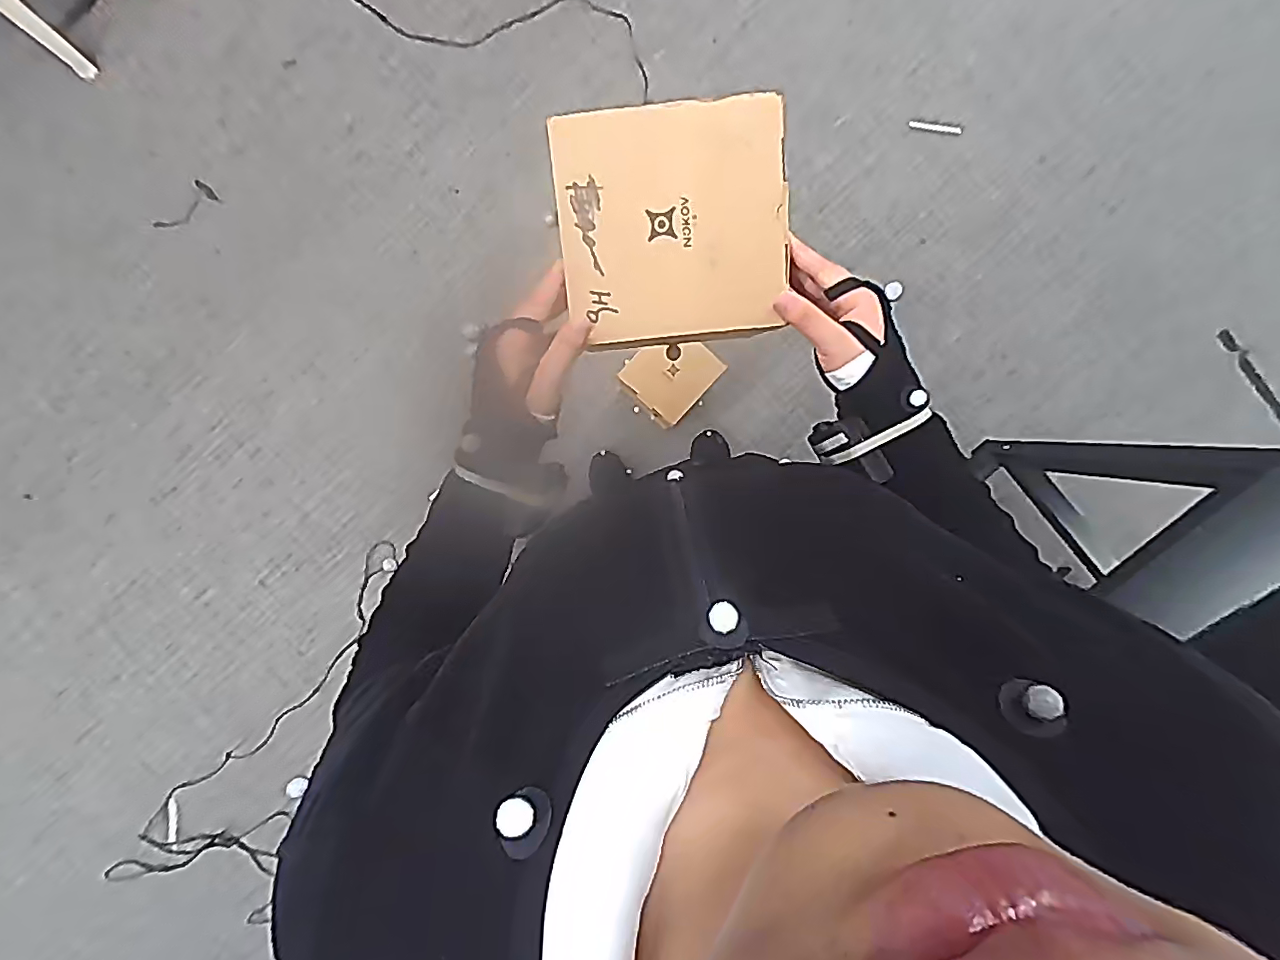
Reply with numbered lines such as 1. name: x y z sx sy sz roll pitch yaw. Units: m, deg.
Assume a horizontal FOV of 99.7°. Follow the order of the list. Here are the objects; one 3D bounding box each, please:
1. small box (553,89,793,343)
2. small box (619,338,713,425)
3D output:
1. small box: 0.027 -0.218 0.492 0.179 0.176 0.168 -6 102 1
2. small box: 0.063 -0.260 1.400 0.168 0.176 0.179 45 95 -3
